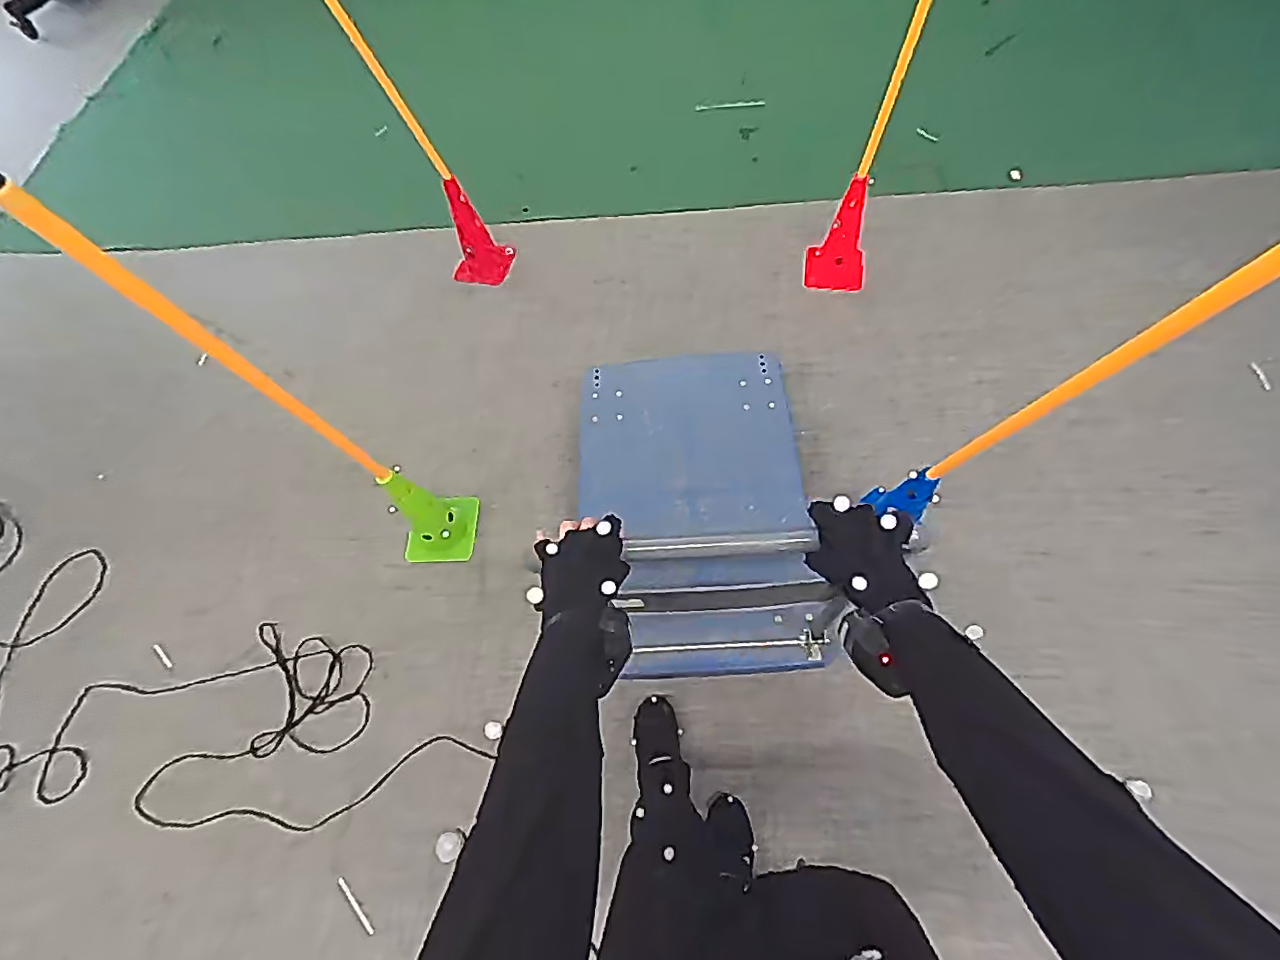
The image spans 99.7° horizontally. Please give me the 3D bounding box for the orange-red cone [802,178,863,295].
[{"bbox_3d":[0.663,-0.807,1.764,0.198,0.360,0.199,8,65,10],"label":"orange-red cone"}]
